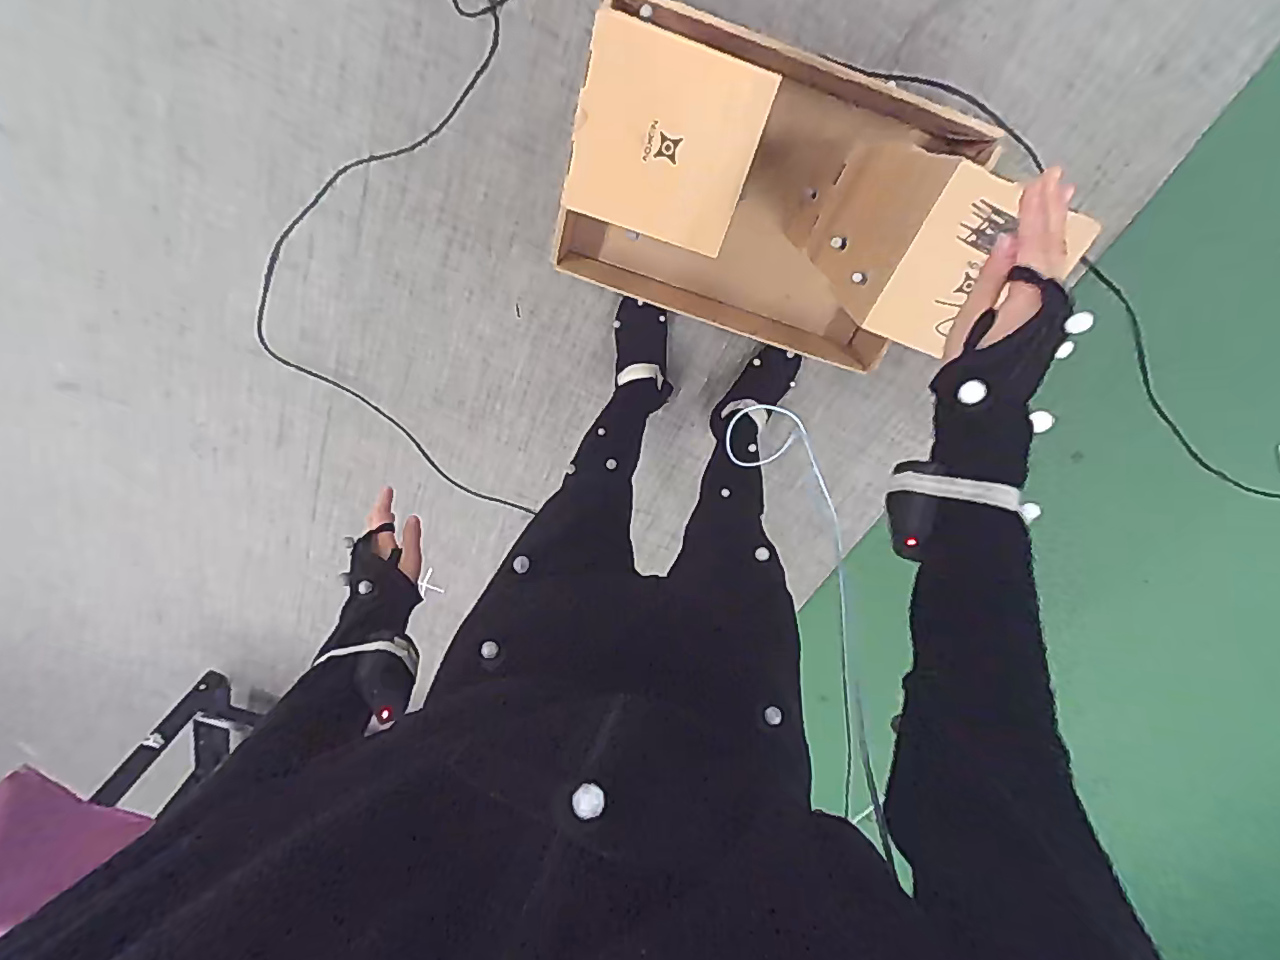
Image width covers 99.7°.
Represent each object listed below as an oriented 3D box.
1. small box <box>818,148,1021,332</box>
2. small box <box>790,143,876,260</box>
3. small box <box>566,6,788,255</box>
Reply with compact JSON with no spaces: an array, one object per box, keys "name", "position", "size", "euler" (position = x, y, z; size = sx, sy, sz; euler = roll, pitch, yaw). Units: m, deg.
[{"name":"small box","position":[0.374,-0.343,0.769],"size":[0.168,0.176,0.179],"euler":[21,121,-9]},{"name":"small box","position":[0.373,-0.437,0.905],"size":[0.179,0.176,0.168],"euler":[22,121,-8]},{"name":"small box","position":[0.036,-0.372,0.589],"size":[0.179,0.176,0.168],"euler":[17,124,-5]}]
